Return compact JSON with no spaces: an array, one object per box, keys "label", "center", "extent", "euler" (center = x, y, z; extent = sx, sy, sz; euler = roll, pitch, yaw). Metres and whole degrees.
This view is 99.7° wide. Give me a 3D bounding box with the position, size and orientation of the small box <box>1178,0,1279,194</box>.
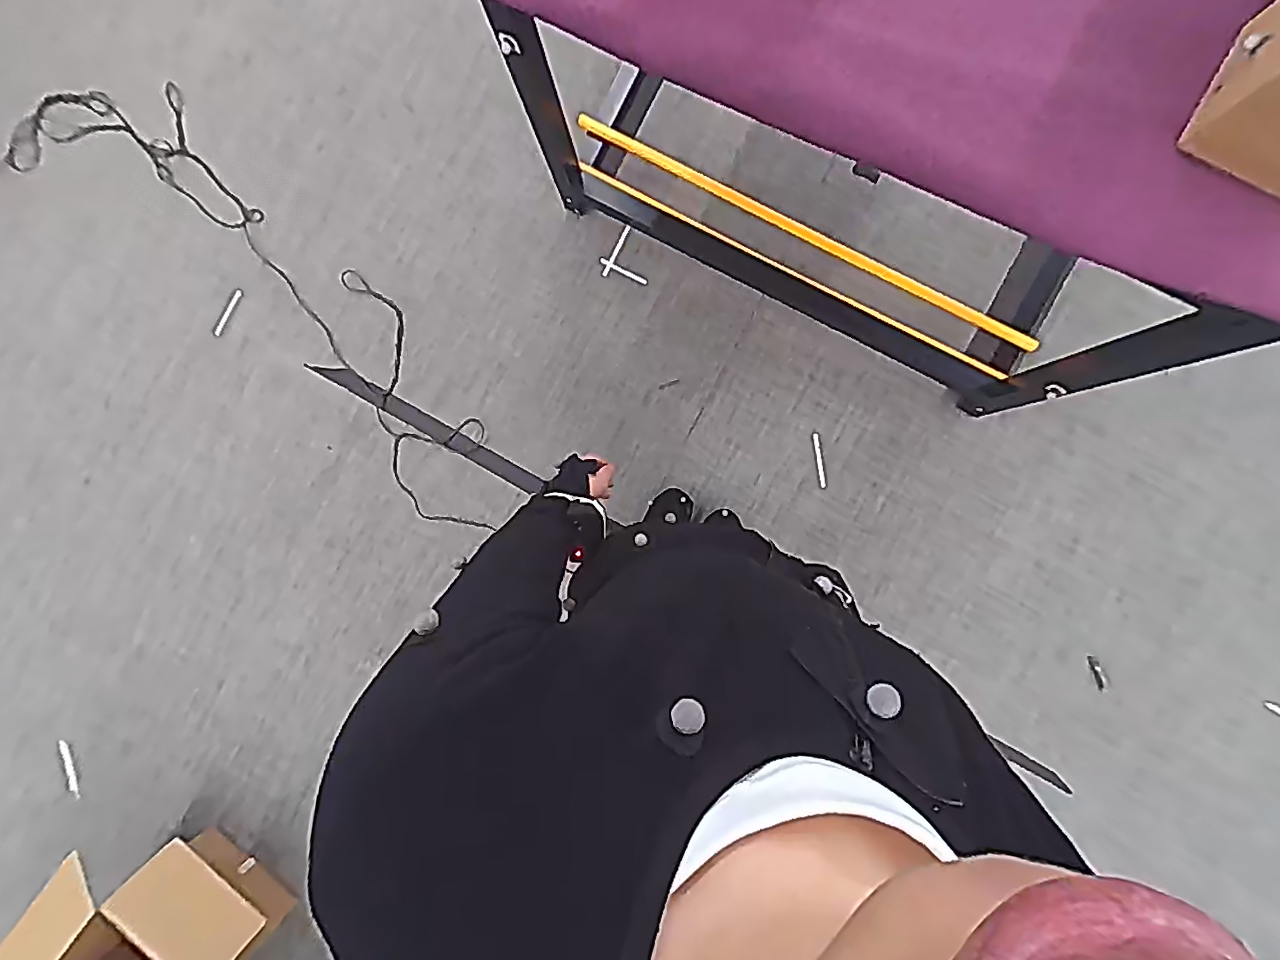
[{"label":"small box","center":[0.727,-0.419,0.541],"extent":[0.179,0.176,0.168],"euler":[30,90,4]}]
